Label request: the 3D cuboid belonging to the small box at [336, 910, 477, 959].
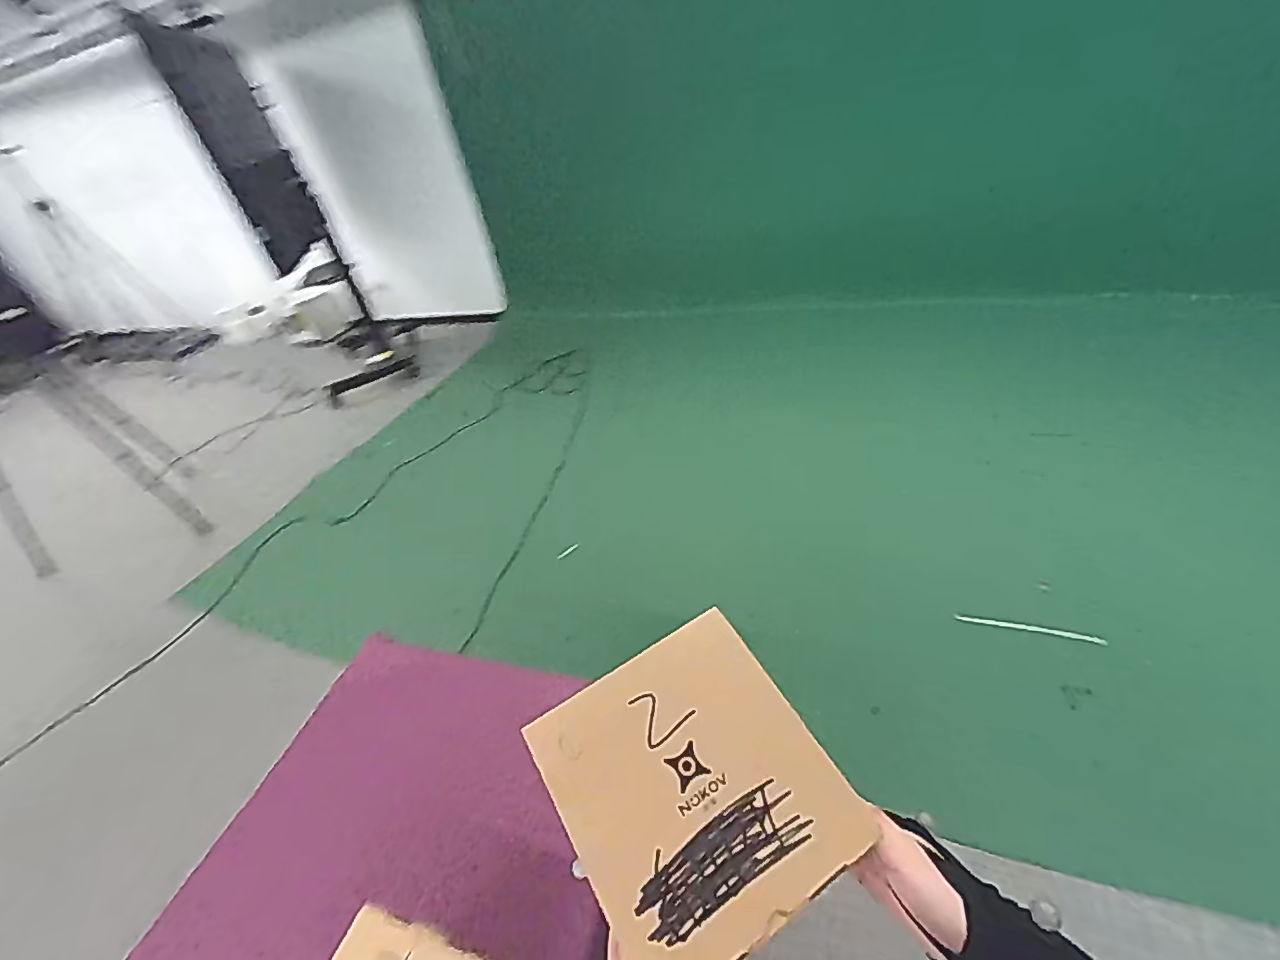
[{"bbox_3d":[-0.226,0.573,0.527,0.168,0.176,0.179,4,42,22],"label":"small box"}]
